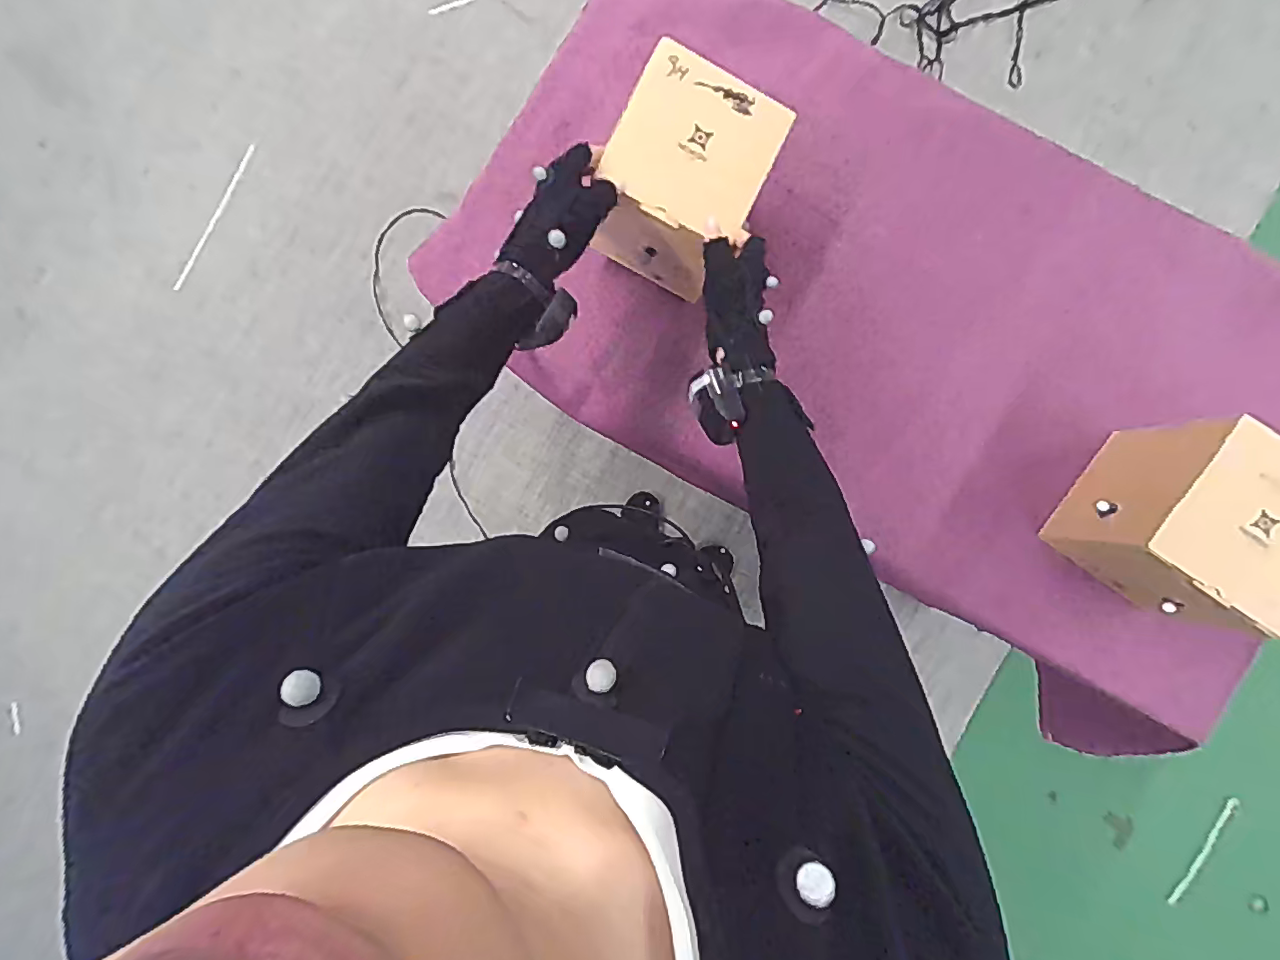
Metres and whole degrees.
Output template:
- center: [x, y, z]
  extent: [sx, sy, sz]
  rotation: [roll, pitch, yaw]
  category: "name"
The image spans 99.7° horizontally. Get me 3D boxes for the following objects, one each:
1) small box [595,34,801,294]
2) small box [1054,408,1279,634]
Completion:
- center: [0.057, -0.353, 0.646]
  extent: [0.168, 0.176, 0.179]
  rotation: [27, 88, -5]
  category: "small box"
- center: [0.640, 0.043, 0.630]
  extent: [0.168, 0.176, 0.179]
  rotation: [37, 91, 3]
  category: "small box"
